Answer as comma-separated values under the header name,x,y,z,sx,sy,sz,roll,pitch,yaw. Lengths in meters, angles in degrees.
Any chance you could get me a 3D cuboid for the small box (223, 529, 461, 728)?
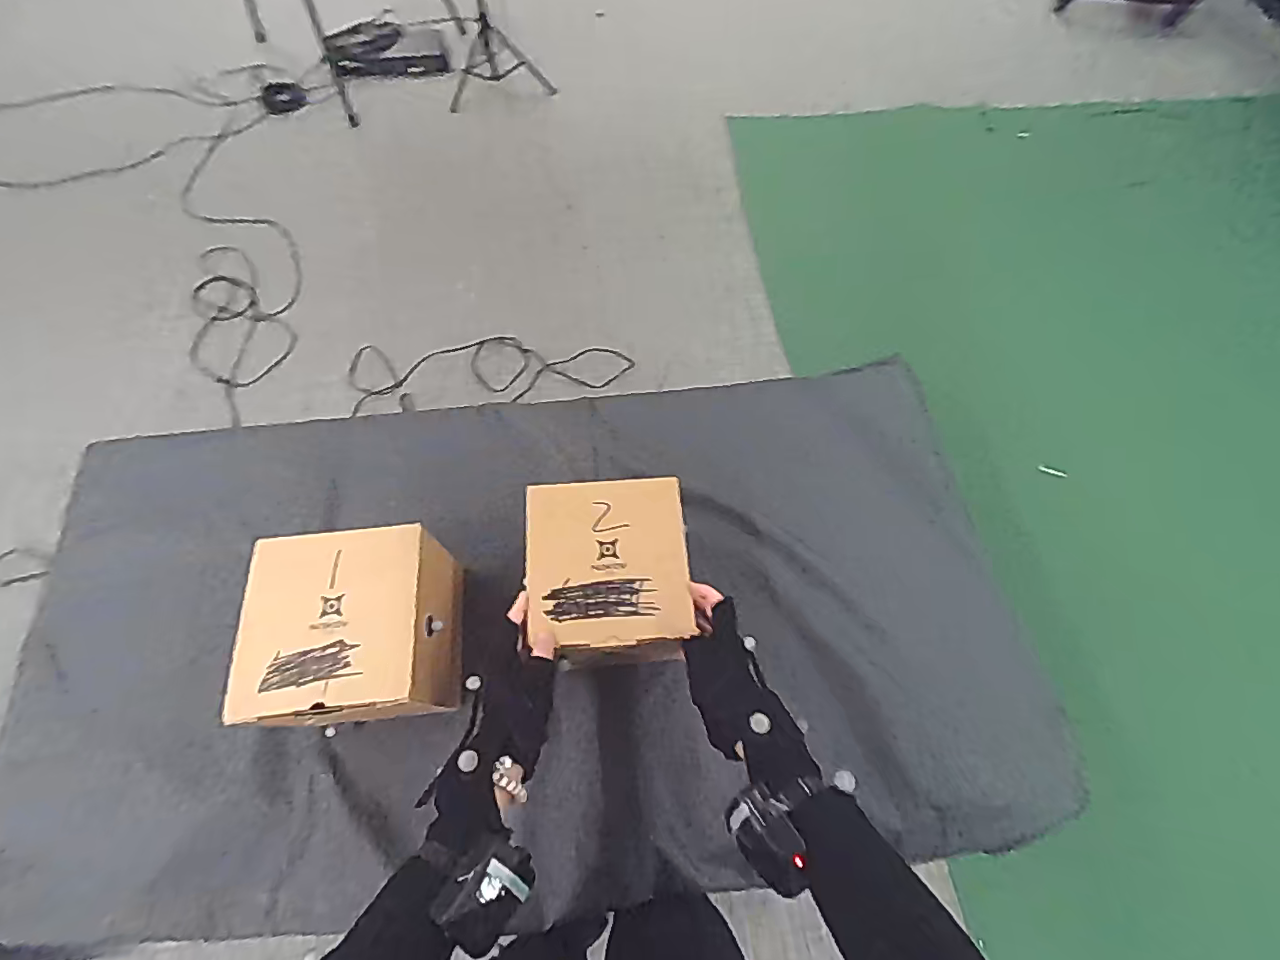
name,x,y,z,sx,sy,sz,roll,pitch,yaw
small box,-0.301,0.169,0.592,0.168,0.176,0.179,-5,64,-5
